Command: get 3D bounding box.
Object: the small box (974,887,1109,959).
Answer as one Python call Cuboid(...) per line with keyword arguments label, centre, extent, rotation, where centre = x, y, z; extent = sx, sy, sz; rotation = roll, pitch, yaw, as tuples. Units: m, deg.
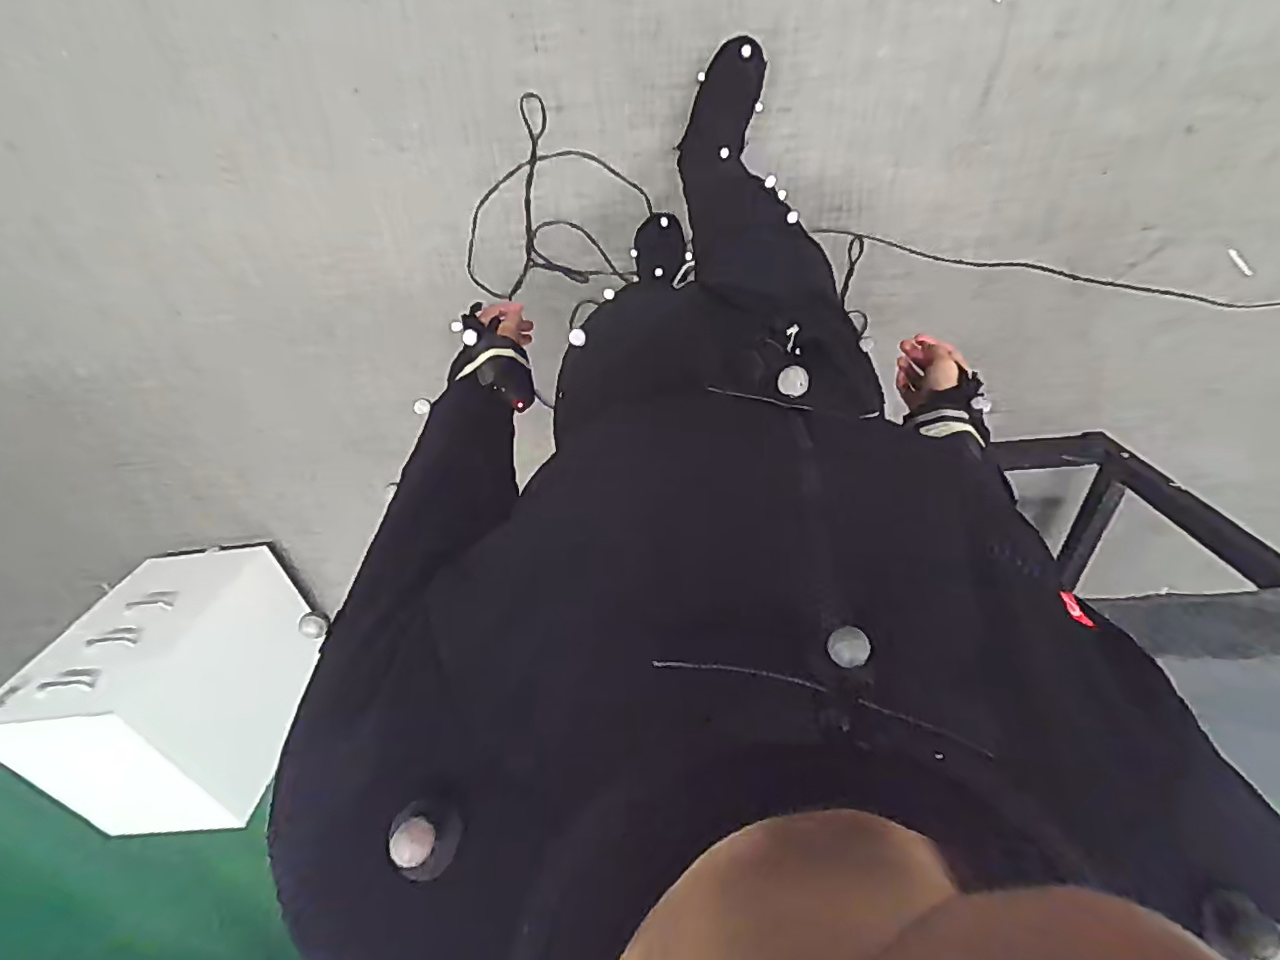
Cuboid(label="small box", centre=(0.927, 1.075, 1.253), extent=(0.179, 0.176, 0.168), rotation=(12, 124, -9))
